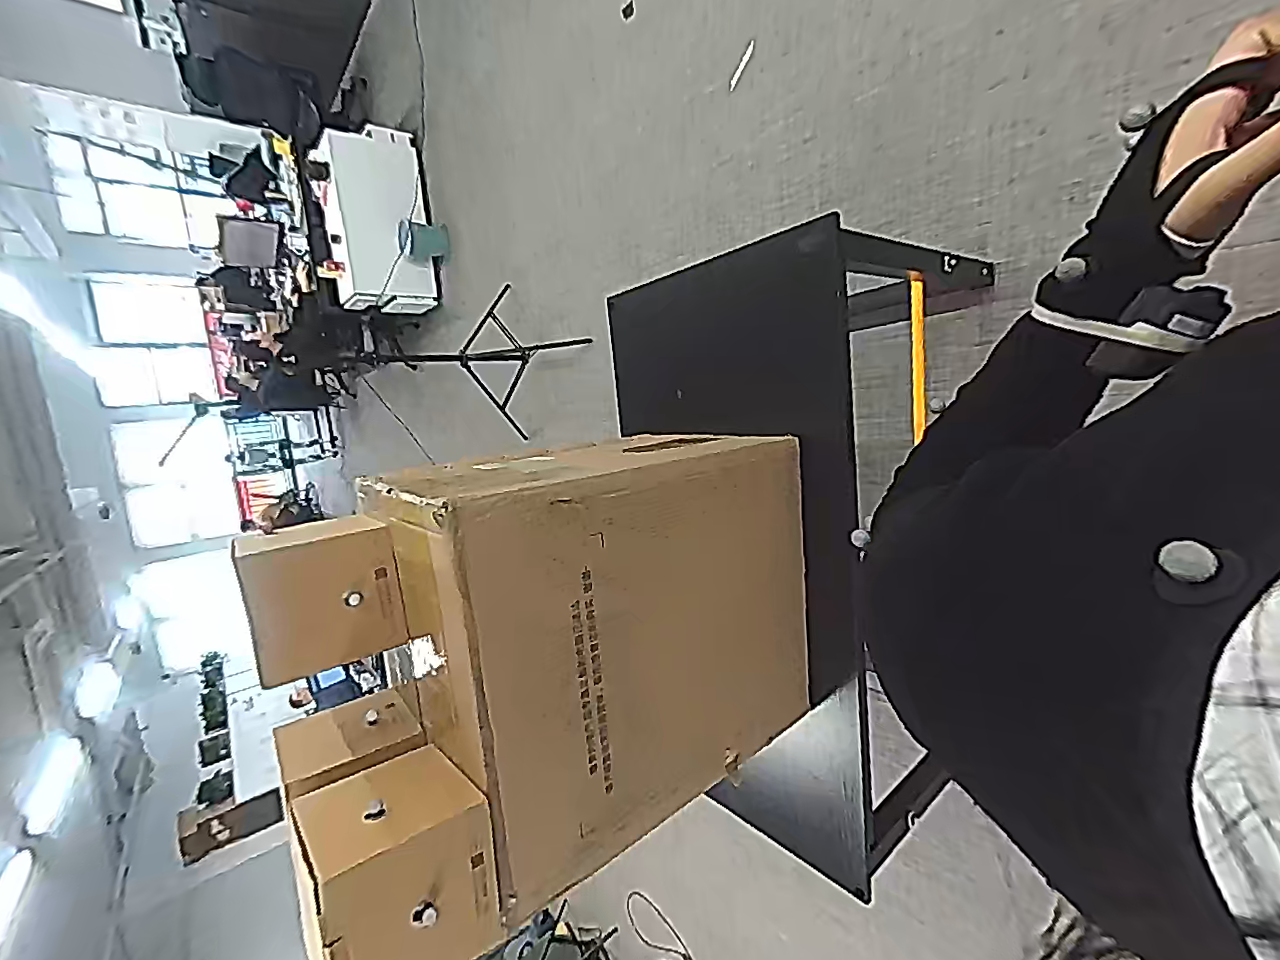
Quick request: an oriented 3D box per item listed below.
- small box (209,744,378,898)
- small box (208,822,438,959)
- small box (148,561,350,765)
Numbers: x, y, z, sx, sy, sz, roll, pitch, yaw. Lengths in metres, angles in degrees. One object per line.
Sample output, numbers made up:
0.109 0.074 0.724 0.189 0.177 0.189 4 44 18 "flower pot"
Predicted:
-0.441 0.490 0.708 0.168 0.176 0.179 6 103 52 "small box"
-0.313 0.492 0.547 0.179 0.176 0.168 -3 94 49 "small box"
-0.476 0.207 0.676 0.179 0.176 0.168 3 103 53 "small box"
